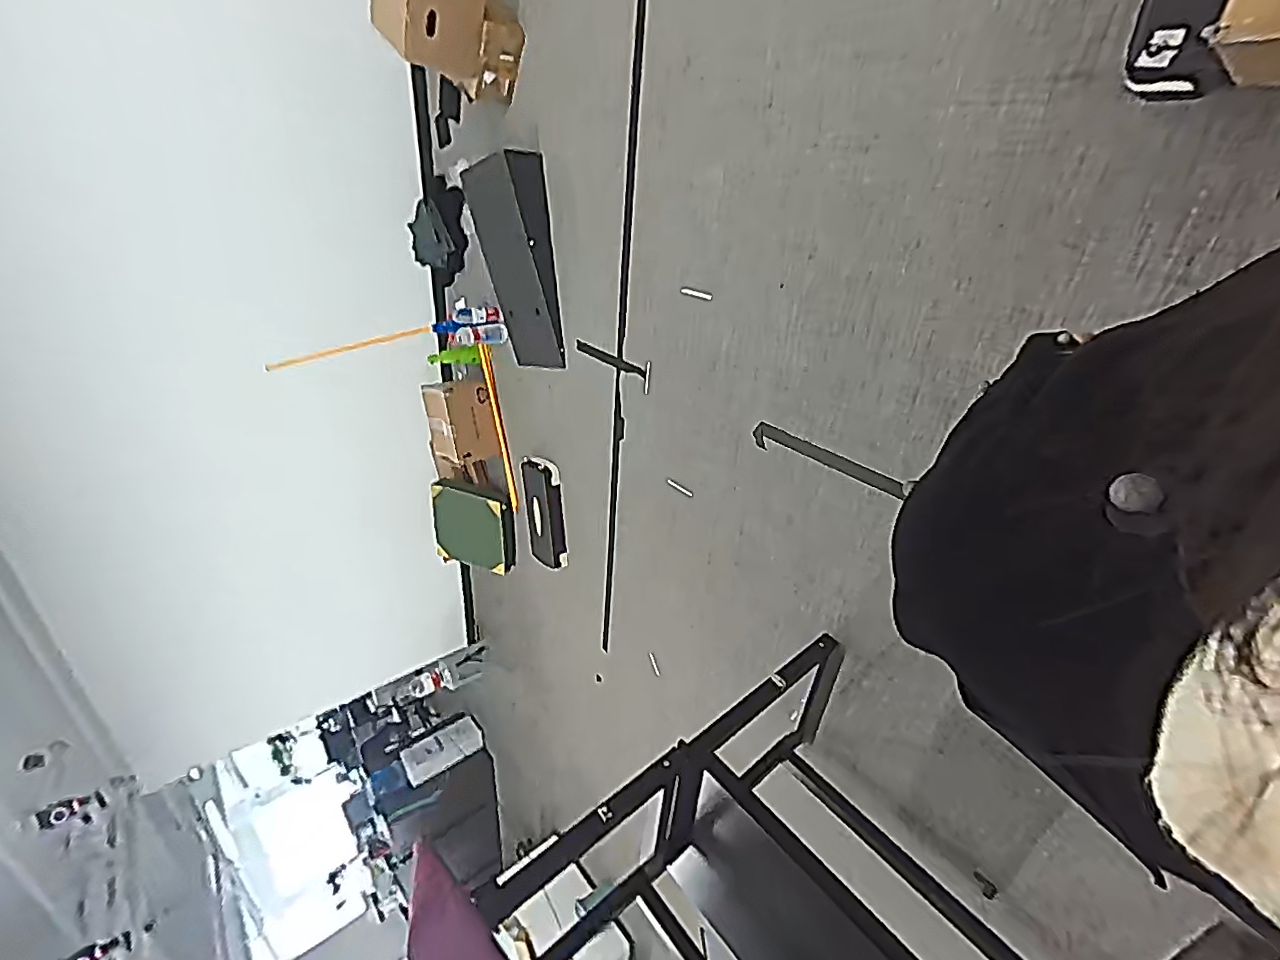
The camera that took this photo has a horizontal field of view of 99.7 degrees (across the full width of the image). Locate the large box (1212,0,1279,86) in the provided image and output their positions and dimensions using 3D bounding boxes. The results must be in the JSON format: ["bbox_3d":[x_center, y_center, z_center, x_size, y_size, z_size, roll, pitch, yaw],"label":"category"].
[{"bbox_3d":[0.935,-0.613,0.532,0.408,0.320,0.320,32,128,42],"label":"large box"}]
